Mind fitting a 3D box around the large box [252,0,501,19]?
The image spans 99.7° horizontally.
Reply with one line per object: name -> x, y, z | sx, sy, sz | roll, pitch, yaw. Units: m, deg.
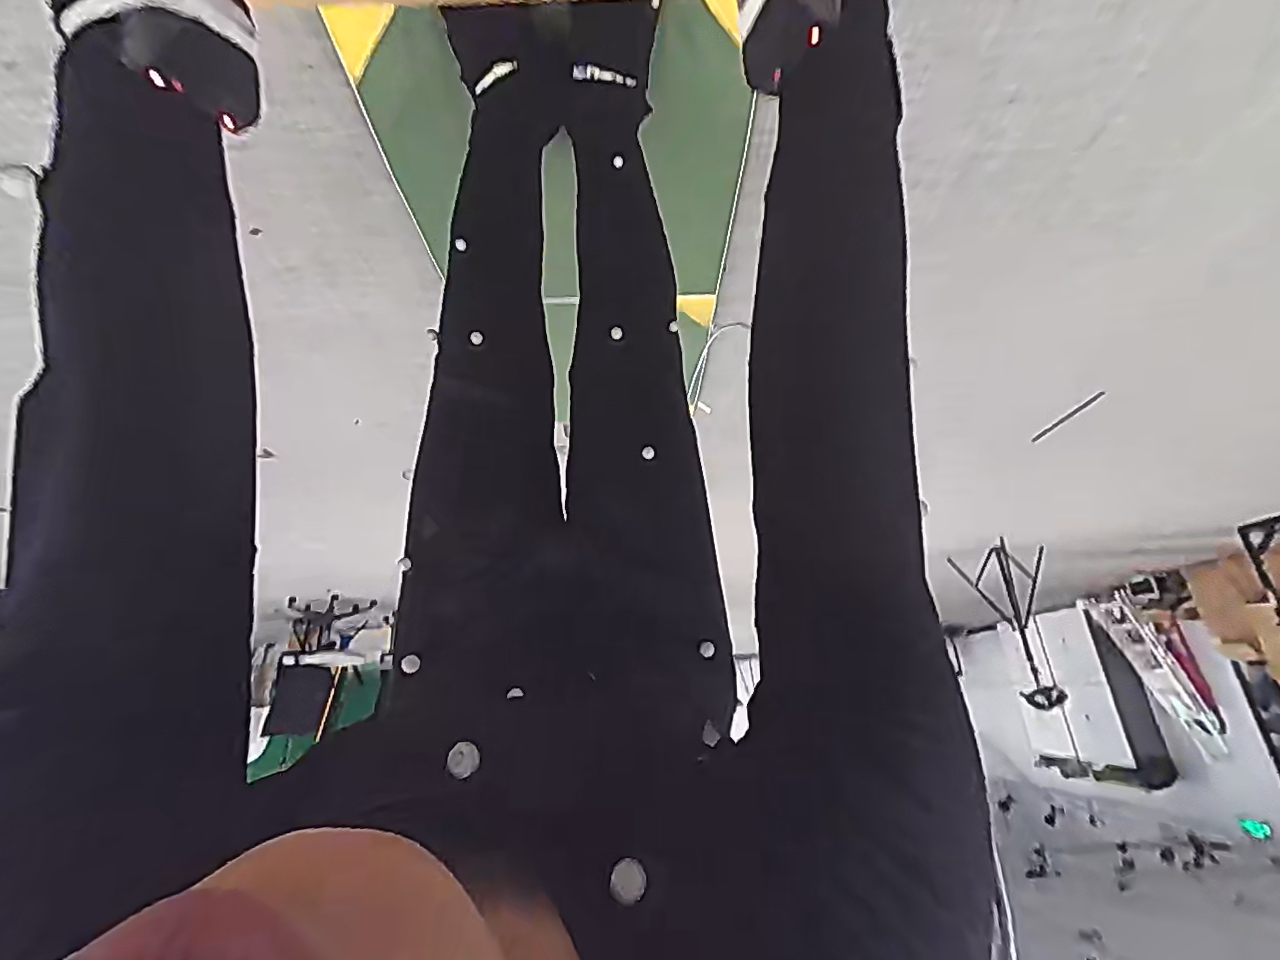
large box -> -0.103, -0.561, 0.336 | 0.408, 0.320, 0.320 | -4, 154, -1
